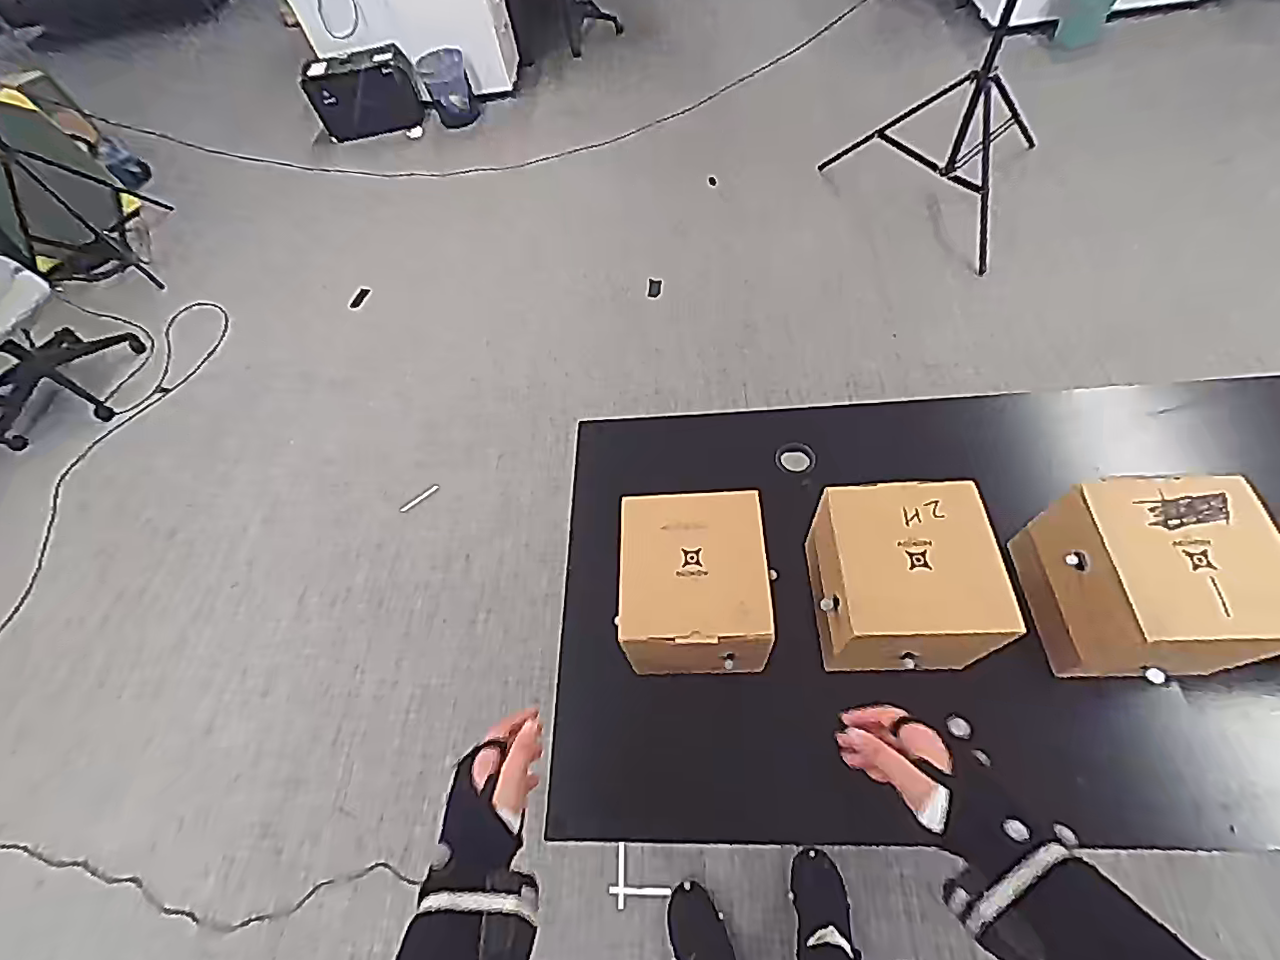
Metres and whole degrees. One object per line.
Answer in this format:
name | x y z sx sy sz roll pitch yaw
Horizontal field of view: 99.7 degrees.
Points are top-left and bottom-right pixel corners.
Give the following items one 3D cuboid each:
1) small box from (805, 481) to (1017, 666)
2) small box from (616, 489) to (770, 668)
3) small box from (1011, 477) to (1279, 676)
small box | 0.301 0.120 0.647 0.168 0.176 0.179 -3 59 6
small box | 0.064 0.131 0.674 0.168 0.176 0.179 -4 58 5
small box | 0.565 0.114 0.614 0.168 0.176 0.179 -3 59 6
